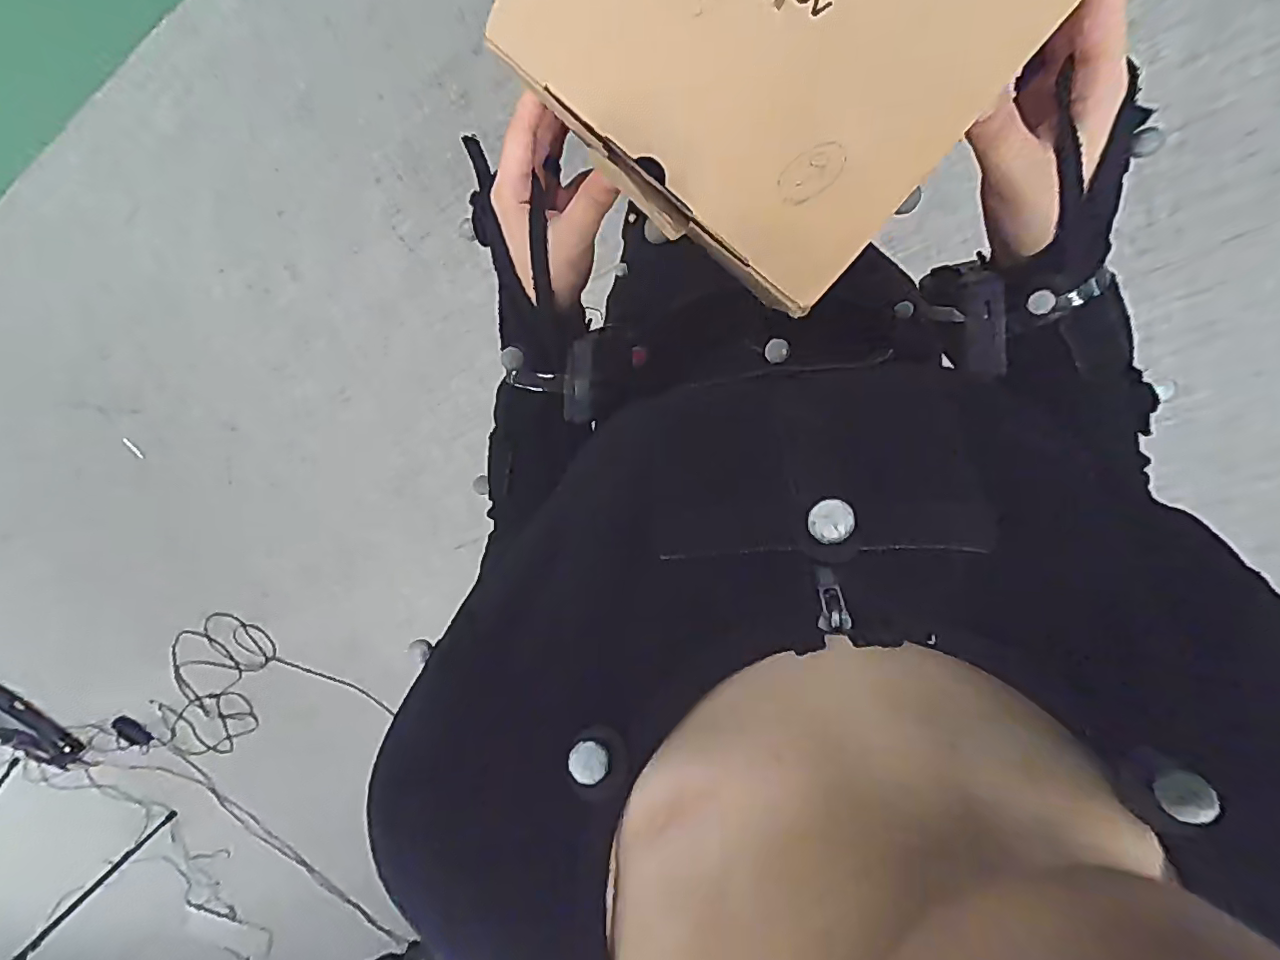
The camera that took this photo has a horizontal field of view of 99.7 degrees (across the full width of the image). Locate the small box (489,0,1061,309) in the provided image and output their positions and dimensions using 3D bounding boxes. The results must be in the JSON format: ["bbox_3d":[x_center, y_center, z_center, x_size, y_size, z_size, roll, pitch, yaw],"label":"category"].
[{"bbox_3d":[0.066,-0.208,0.264,0.168,0.176,0.179,39,112,-5],"label":"small box"}]
